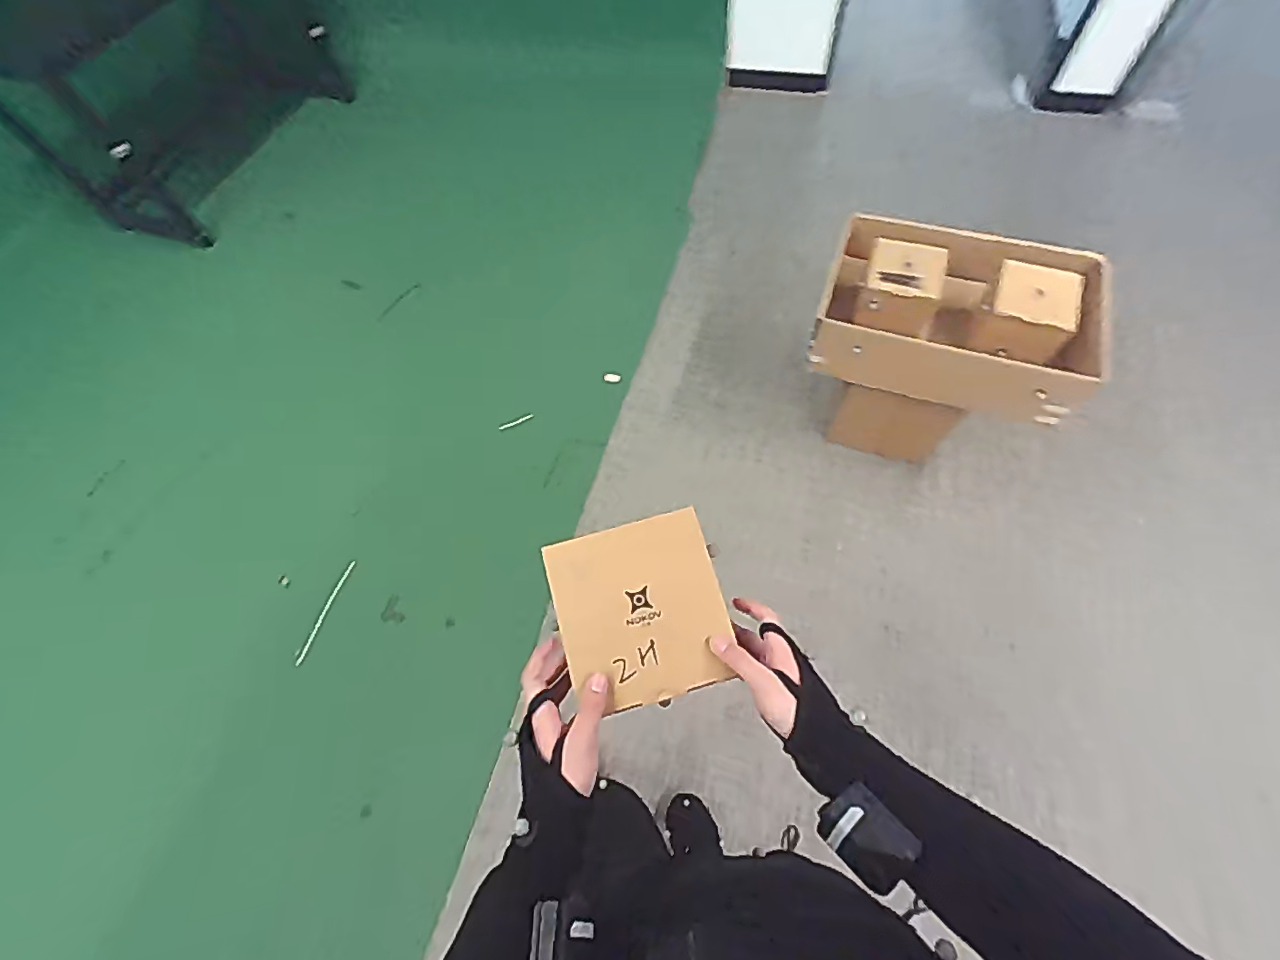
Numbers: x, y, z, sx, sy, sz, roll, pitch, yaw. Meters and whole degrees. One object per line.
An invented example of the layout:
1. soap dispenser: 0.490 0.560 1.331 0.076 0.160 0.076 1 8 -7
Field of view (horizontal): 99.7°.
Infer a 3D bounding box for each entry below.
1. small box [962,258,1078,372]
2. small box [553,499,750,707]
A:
1. small box: 0.908 -0.394 1.304 0.168 0.176 0.179 19 67 13
2. small box: 0.009 0.141 0.611 0.168 0.176 0.179 -14 73 -3
